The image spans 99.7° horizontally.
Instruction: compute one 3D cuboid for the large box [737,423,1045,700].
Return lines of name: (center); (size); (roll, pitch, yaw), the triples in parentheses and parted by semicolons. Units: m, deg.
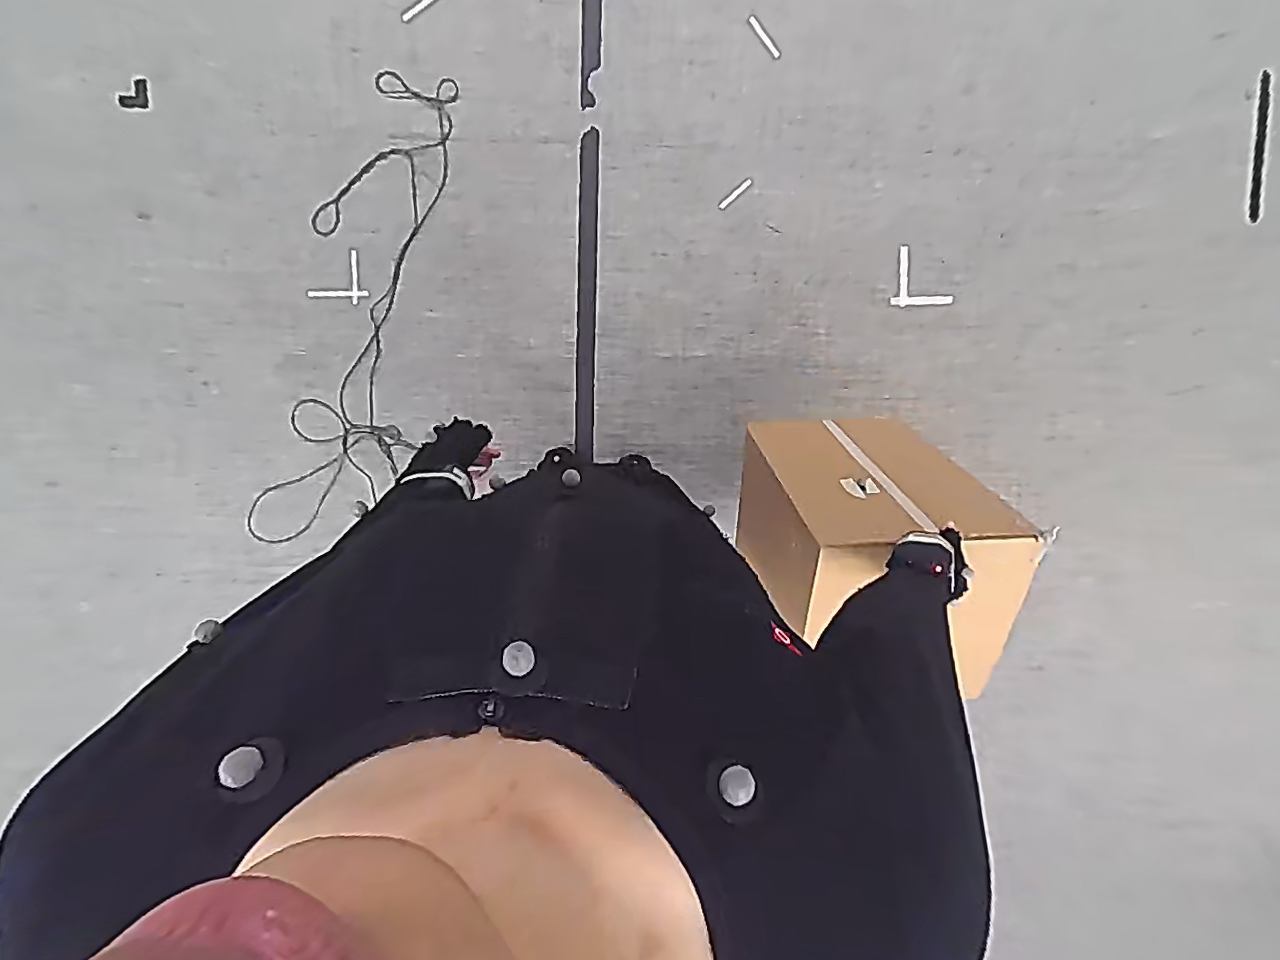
large box: (0.382, 0.121, 0.966); (0.320, 0.408, 0.320); (-2, 121, -3)
